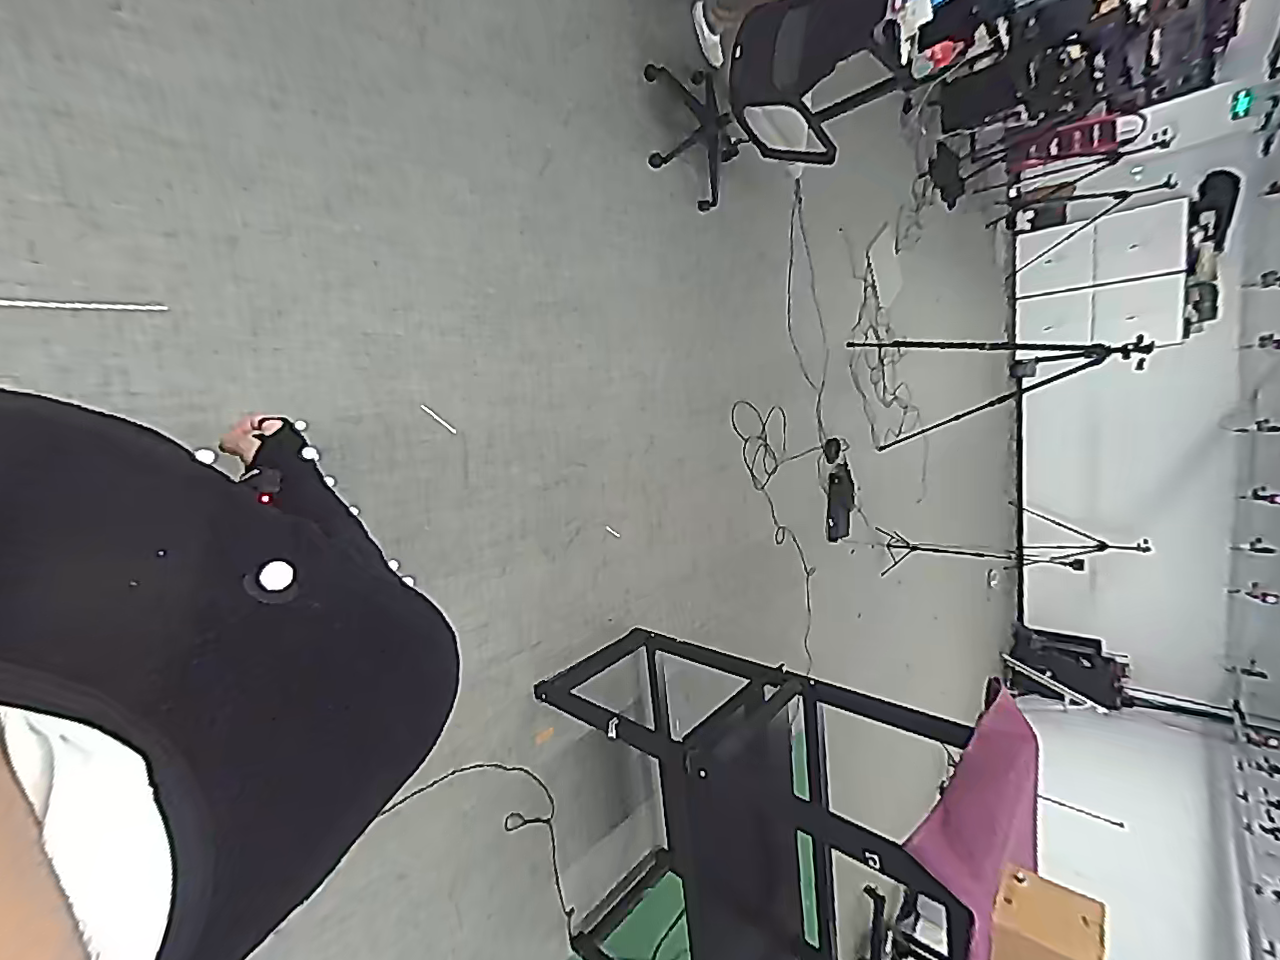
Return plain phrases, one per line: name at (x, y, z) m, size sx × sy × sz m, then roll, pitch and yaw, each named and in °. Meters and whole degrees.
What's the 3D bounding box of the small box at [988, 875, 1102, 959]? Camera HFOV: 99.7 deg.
small box at (0.801, 0.932, 1.070) m, size 0.168 × 0.176 × 0.179 m, roll -14°, pitch 103°, yaw -46°
